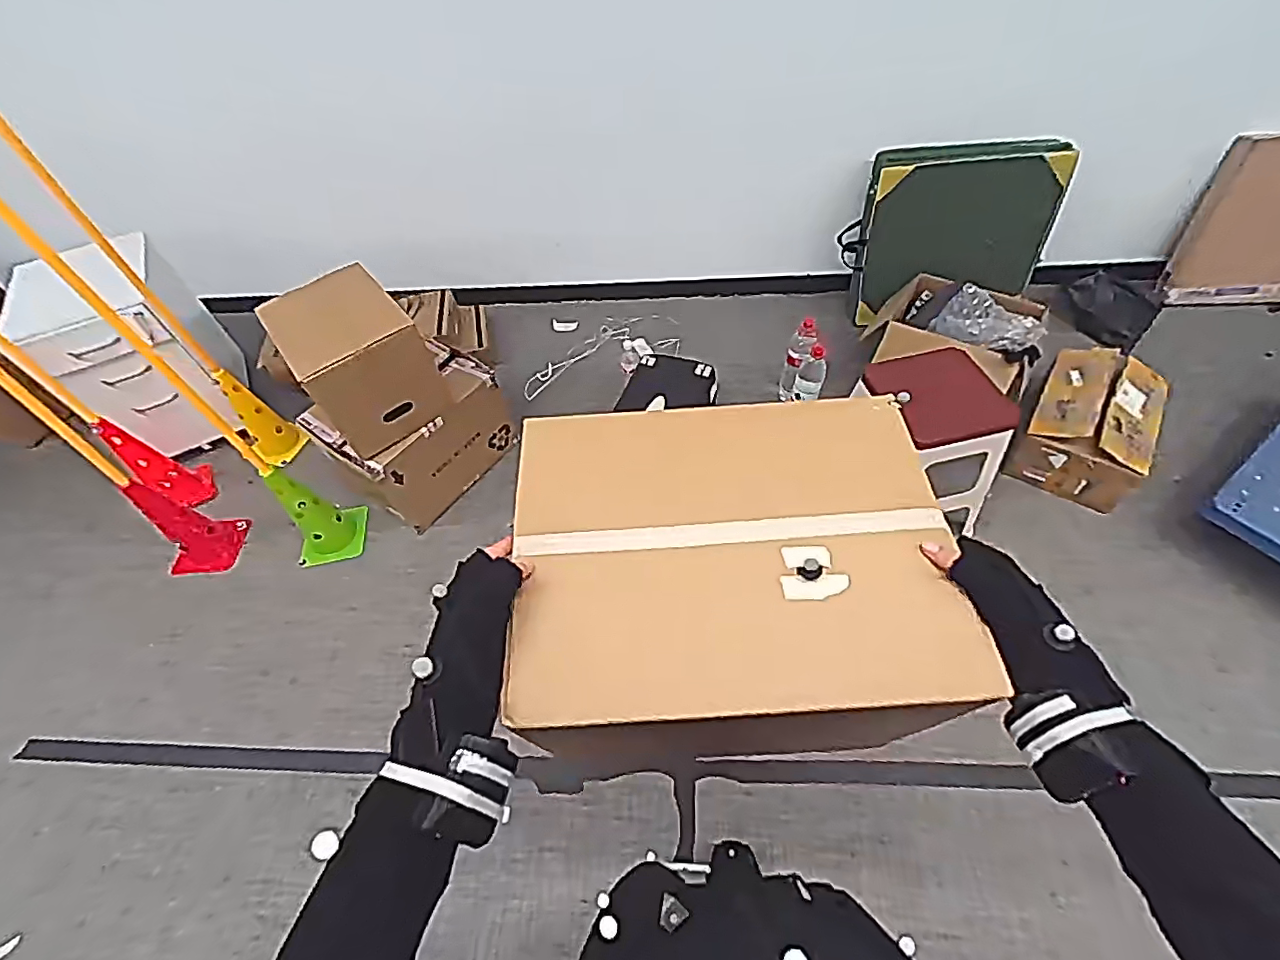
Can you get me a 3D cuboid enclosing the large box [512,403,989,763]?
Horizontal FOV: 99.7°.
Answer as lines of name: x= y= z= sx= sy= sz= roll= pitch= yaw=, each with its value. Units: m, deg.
large box: x=0.087 y=0.136 z=0.646 sx=0.408 sy=0.320 sz=0.320 roll=-4 pitch=57 yaw=0
